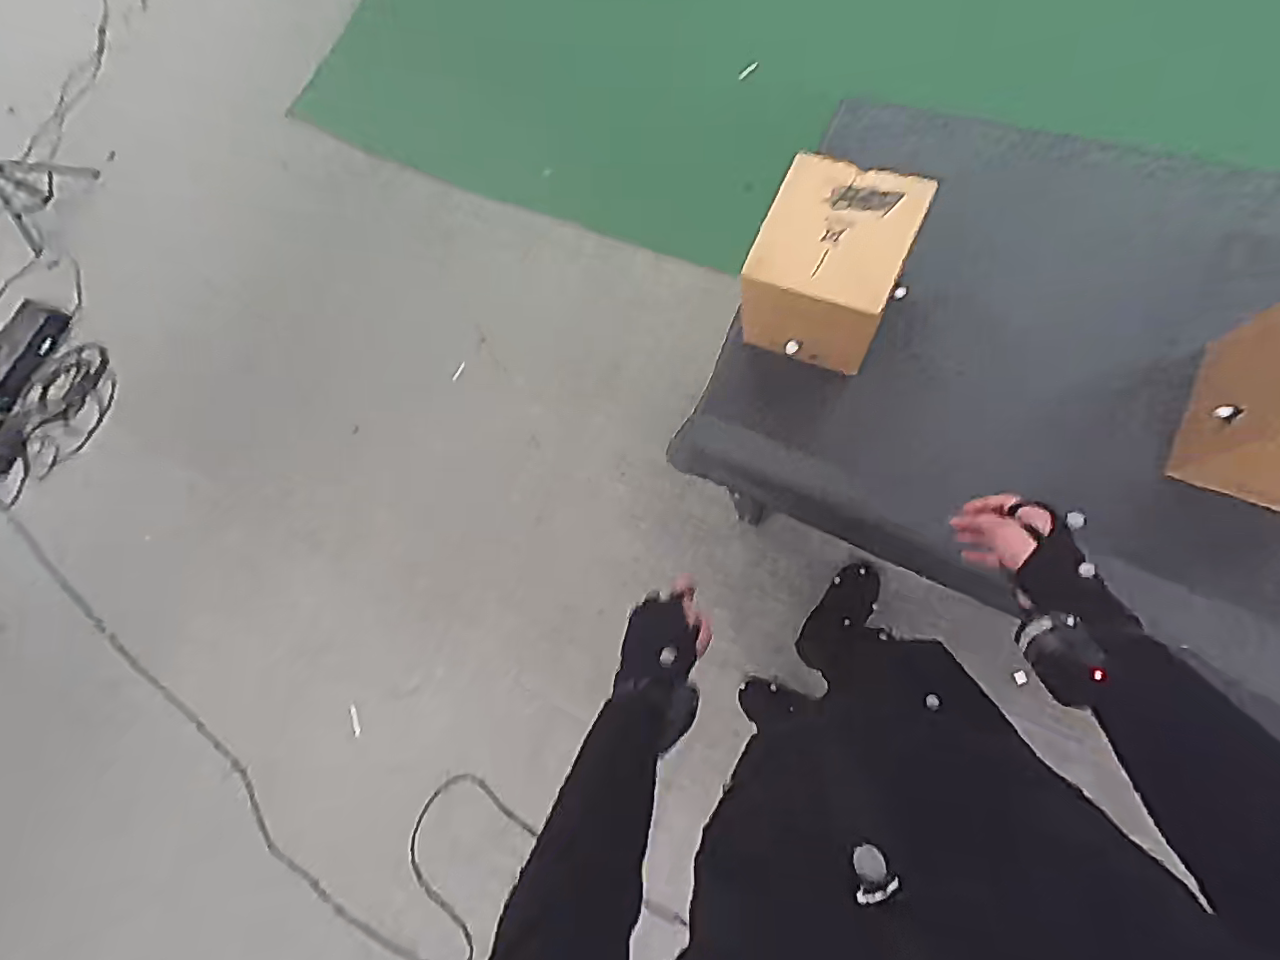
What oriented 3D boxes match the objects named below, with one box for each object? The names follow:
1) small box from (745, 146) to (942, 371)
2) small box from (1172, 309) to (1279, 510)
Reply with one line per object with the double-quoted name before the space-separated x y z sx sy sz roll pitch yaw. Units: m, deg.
"small box" 0.243 -0.270 0.685 0.168 0.176 0.179 25 83 17
"small box" 0.696 -0.068 0.537 0.168 0.176 0.179 24 82 16
